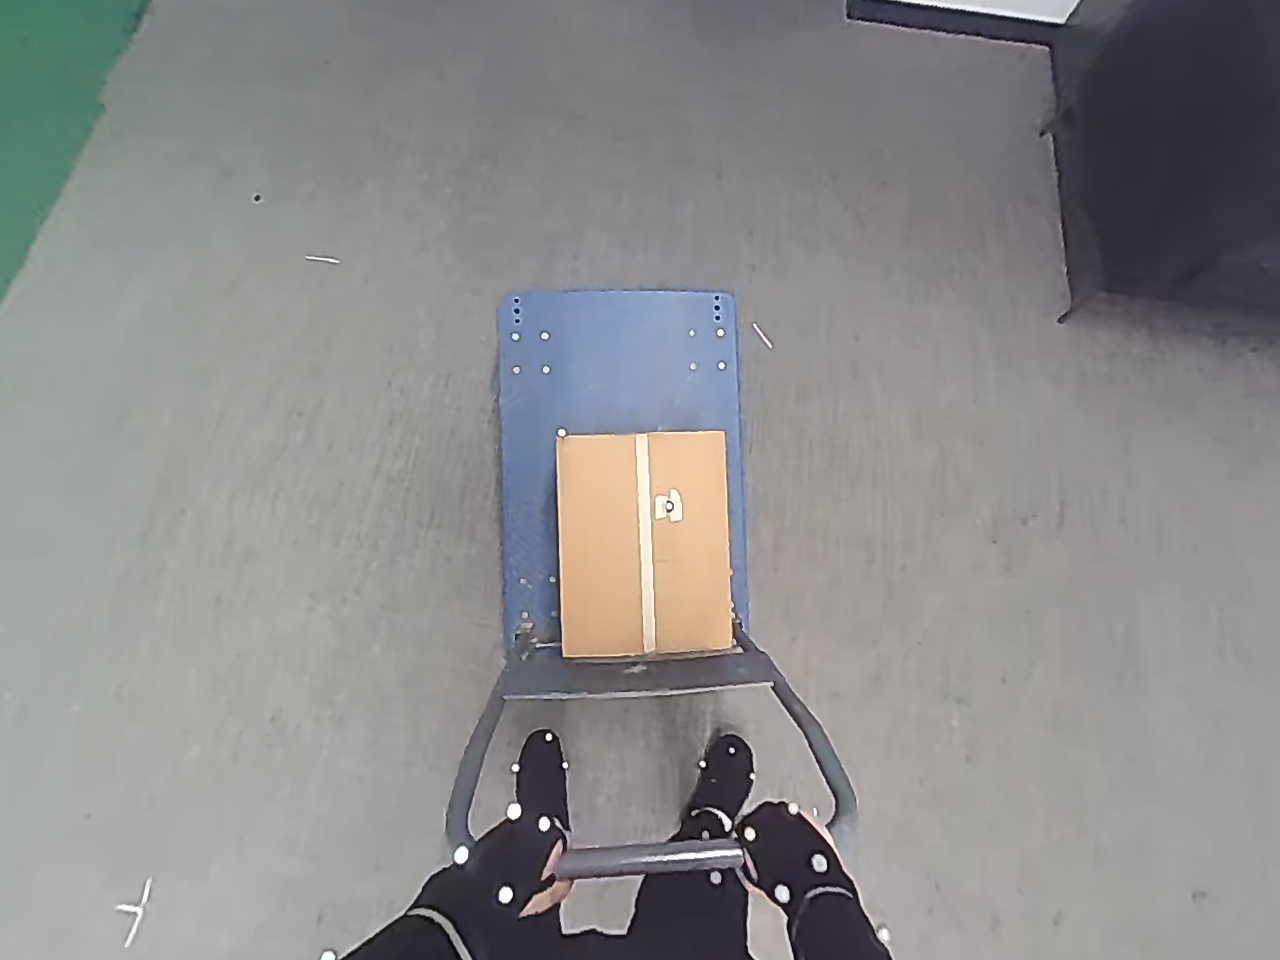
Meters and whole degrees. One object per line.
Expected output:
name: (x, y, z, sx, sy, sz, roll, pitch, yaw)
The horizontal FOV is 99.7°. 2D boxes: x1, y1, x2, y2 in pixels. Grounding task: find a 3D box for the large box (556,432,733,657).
large box: (0.000, 0.123, 1.143, 0.320, 0.320, 0.408, -2, 88, -4)
